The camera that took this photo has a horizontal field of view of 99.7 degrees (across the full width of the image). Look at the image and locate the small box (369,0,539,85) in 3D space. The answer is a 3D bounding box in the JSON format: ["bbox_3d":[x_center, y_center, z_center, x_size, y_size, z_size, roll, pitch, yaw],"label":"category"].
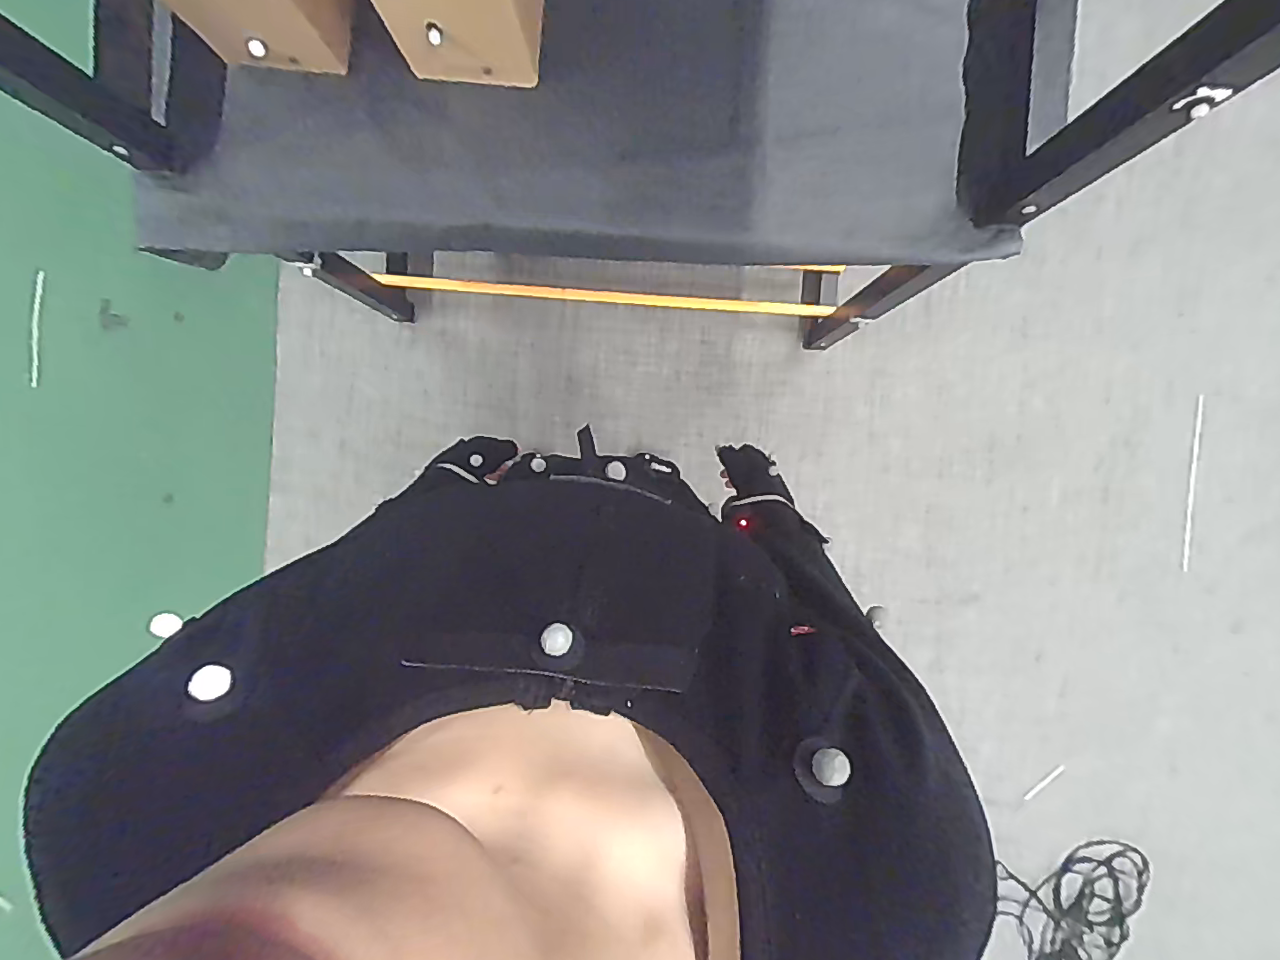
[{"bbox_3d":[-0.219,-0.620,0.651,0.168,0.176,0.179,5,92,0],"label":"small box"}]

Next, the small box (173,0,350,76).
[{"bbox_3d":[-0.471,-0.638,0.648,0.168,0.176,0.179,5,93,0],"label":"small box"}]
